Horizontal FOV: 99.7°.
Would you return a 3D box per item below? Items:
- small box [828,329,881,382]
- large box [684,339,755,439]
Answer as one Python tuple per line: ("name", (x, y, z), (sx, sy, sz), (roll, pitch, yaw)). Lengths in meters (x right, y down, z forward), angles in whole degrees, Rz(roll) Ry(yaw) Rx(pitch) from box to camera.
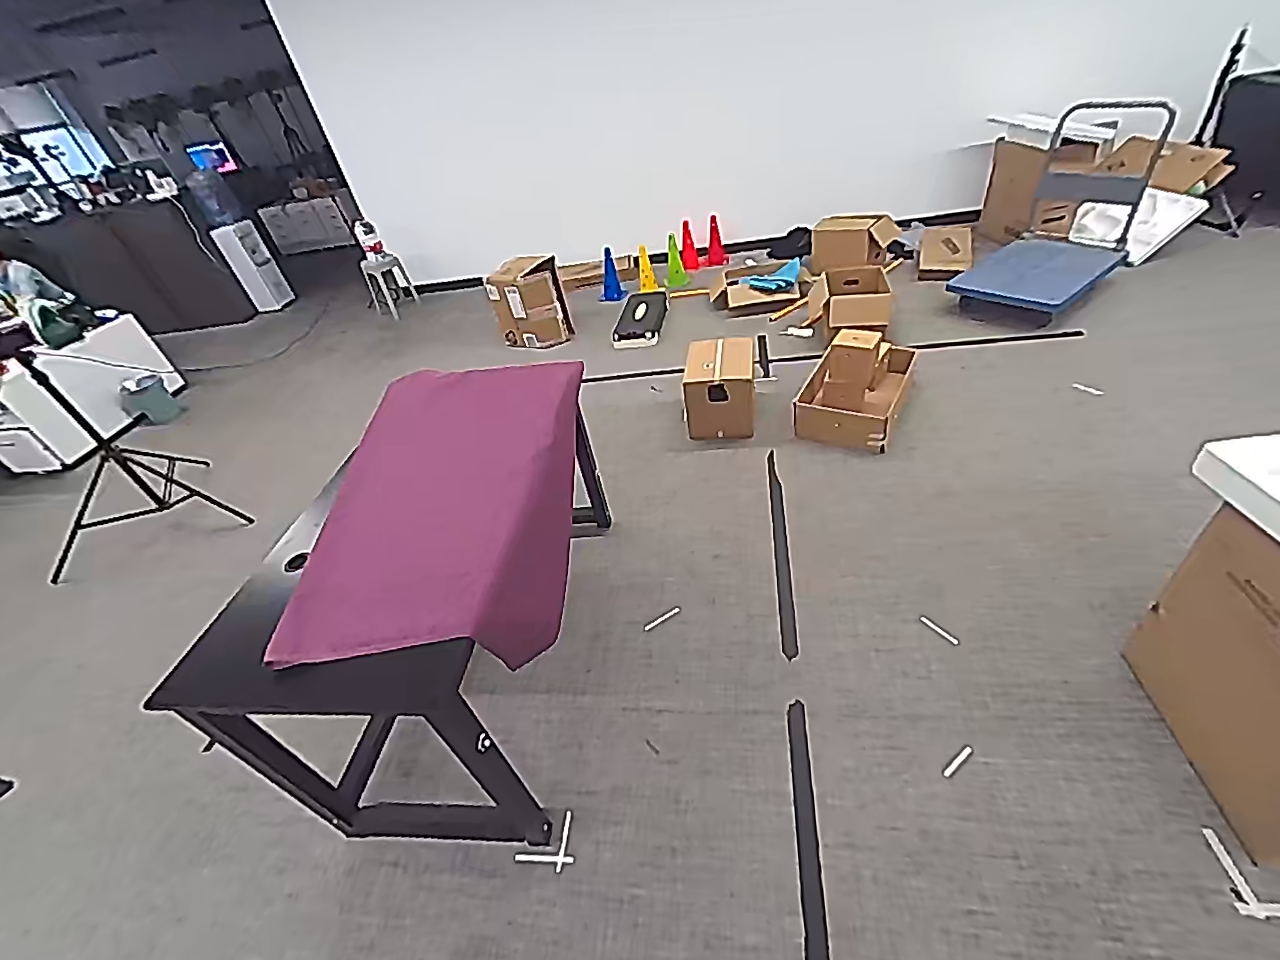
("small box", (0.944, -0.550, 2.388), (0.179, 0.176, 0.168), (16, 45, 29))
("large box", (0.397, -0.445, 2.628), (0.320, 0.320, 0.408), (-2, 41, 13))
